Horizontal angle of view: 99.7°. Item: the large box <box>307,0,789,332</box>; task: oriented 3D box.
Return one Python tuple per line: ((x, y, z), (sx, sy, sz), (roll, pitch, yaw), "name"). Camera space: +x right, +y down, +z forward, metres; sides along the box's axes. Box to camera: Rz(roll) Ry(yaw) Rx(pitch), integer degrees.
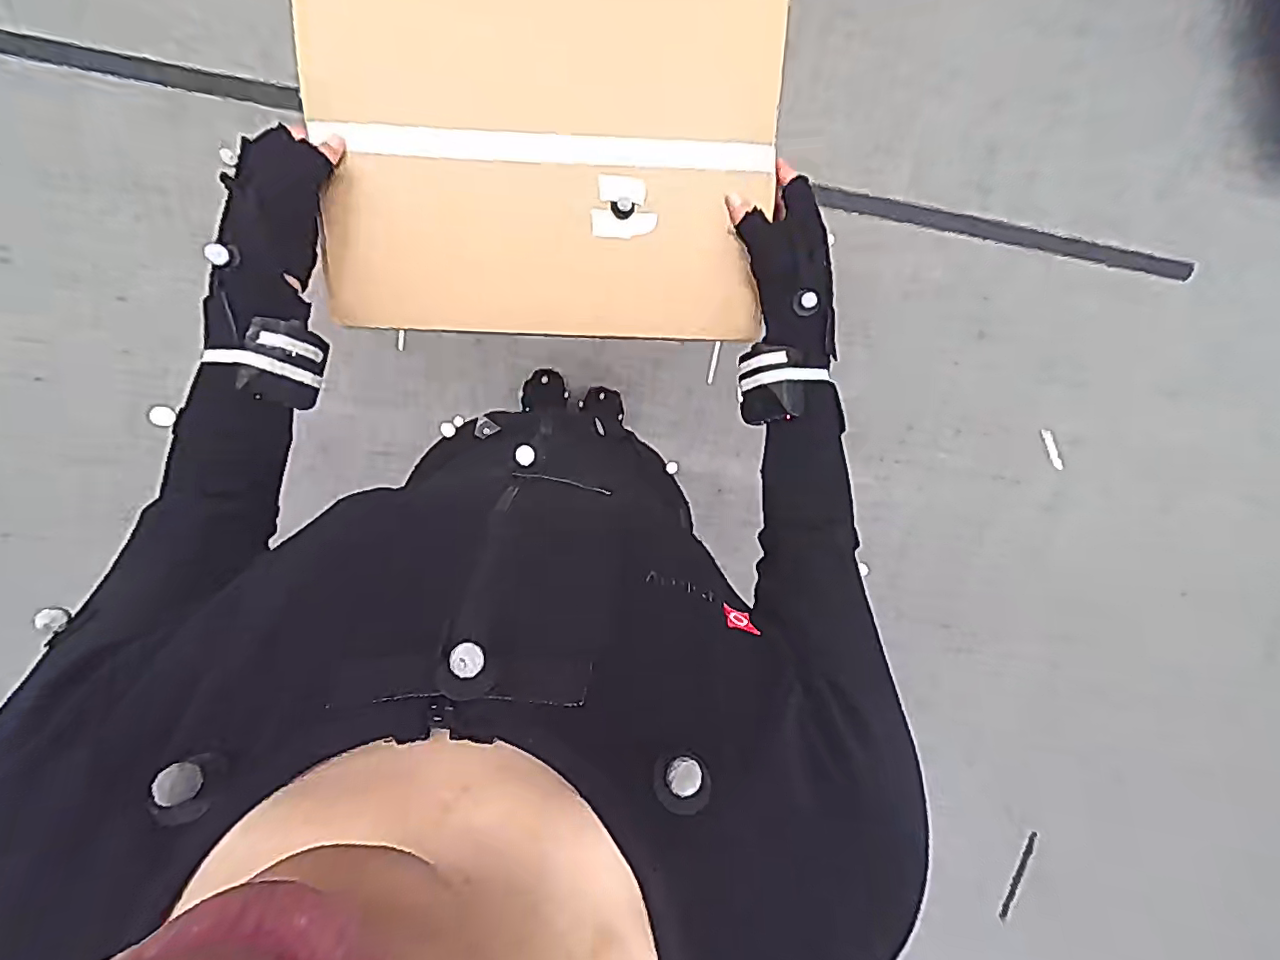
((-0.086, -0.333, 0.617), (0.408, 0.320, 0.320), (0, 106, -4), "large box")
